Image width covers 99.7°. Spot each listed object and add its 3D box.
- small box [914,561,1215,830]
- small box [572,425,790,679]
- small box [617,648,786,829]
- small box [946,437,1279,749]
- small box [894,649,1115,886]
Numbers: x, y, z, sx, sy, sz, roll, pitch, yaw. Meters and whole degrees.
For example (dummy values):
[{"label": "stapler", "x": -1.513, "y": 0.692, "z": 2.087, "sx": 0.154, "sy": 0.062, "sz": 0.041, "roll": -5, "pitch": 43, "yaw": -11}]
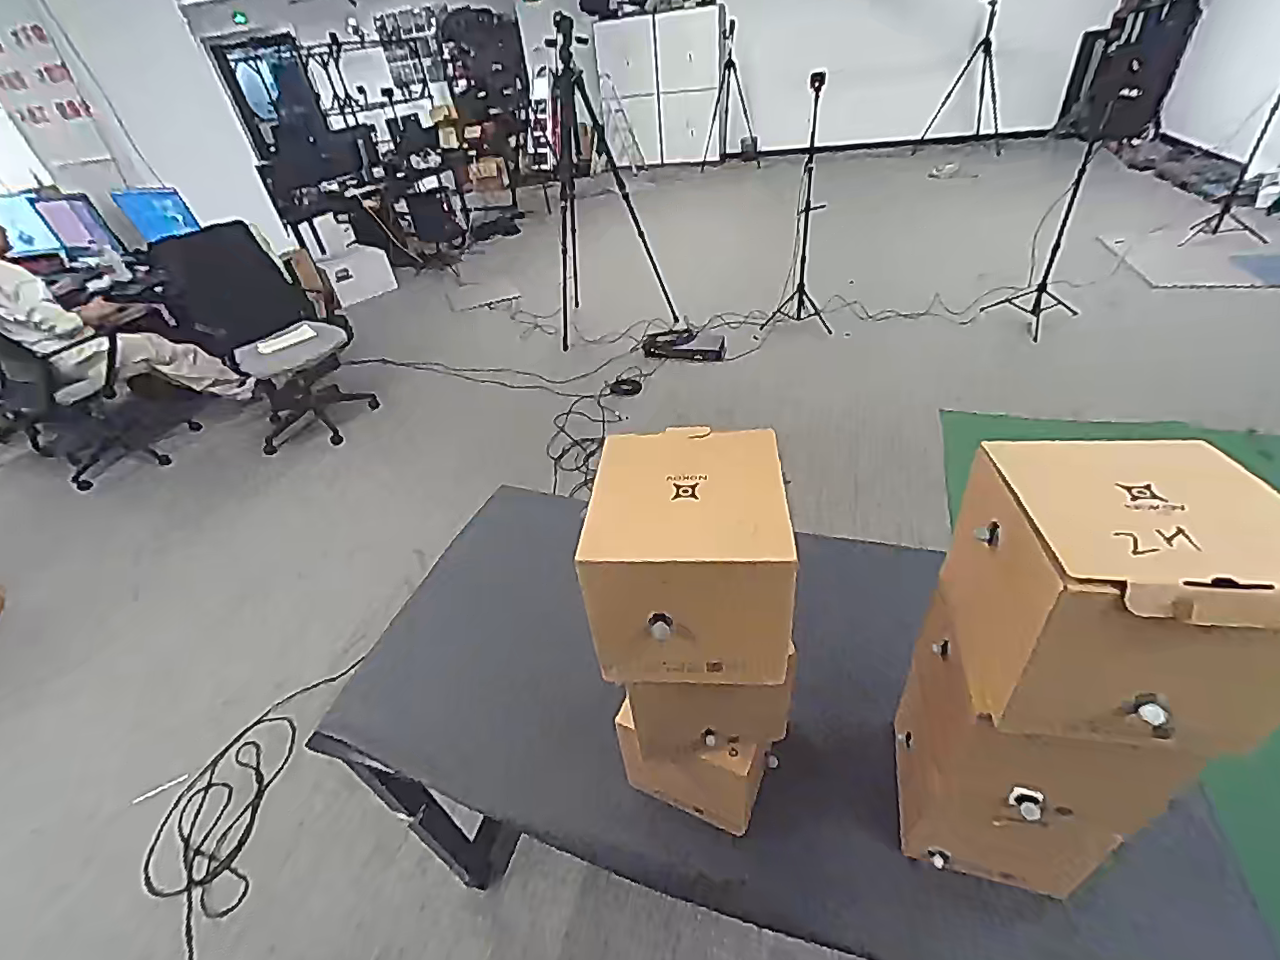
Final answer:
[{"label": "small box", "x": 0.385, "y": 0.207, "z": 0.538, "sx": 0.168, "sy": 0.176, "sz": 0.179, "roll": 2, "pitch": 38, "yaw": 15}, {"label": "small box", "x": 0.045, "y": 0.068, "z": 0.508, "sx": 0.168, "sy": 0.176, "sz": 0.179, "roll": -2, "pitch": 38, "yaw": 8}, {"label": "small box", "x": 0.086, "y": 0.314, "z": 0.721, "sx": 0.168, "sy": 0.176, "sz": 0.179, "roll": 12, "pitch": 41, "yaw": 24}, {"label": "small box", "x": 0.367, "y": 0.080, "z": 0.433, "sx": 0.168, "sy": 0.176, "sz": 0.179, "roll": 0, "pitch": 37, "yaw": 13}, {"label": "small box", "x": 0.404, "y": 0.334, "z": 0.637, "sx": 0.168, "sy": 0.176, "sz": 0.179, "roll": 6, "pitch": 37, "yaw": 18}]
